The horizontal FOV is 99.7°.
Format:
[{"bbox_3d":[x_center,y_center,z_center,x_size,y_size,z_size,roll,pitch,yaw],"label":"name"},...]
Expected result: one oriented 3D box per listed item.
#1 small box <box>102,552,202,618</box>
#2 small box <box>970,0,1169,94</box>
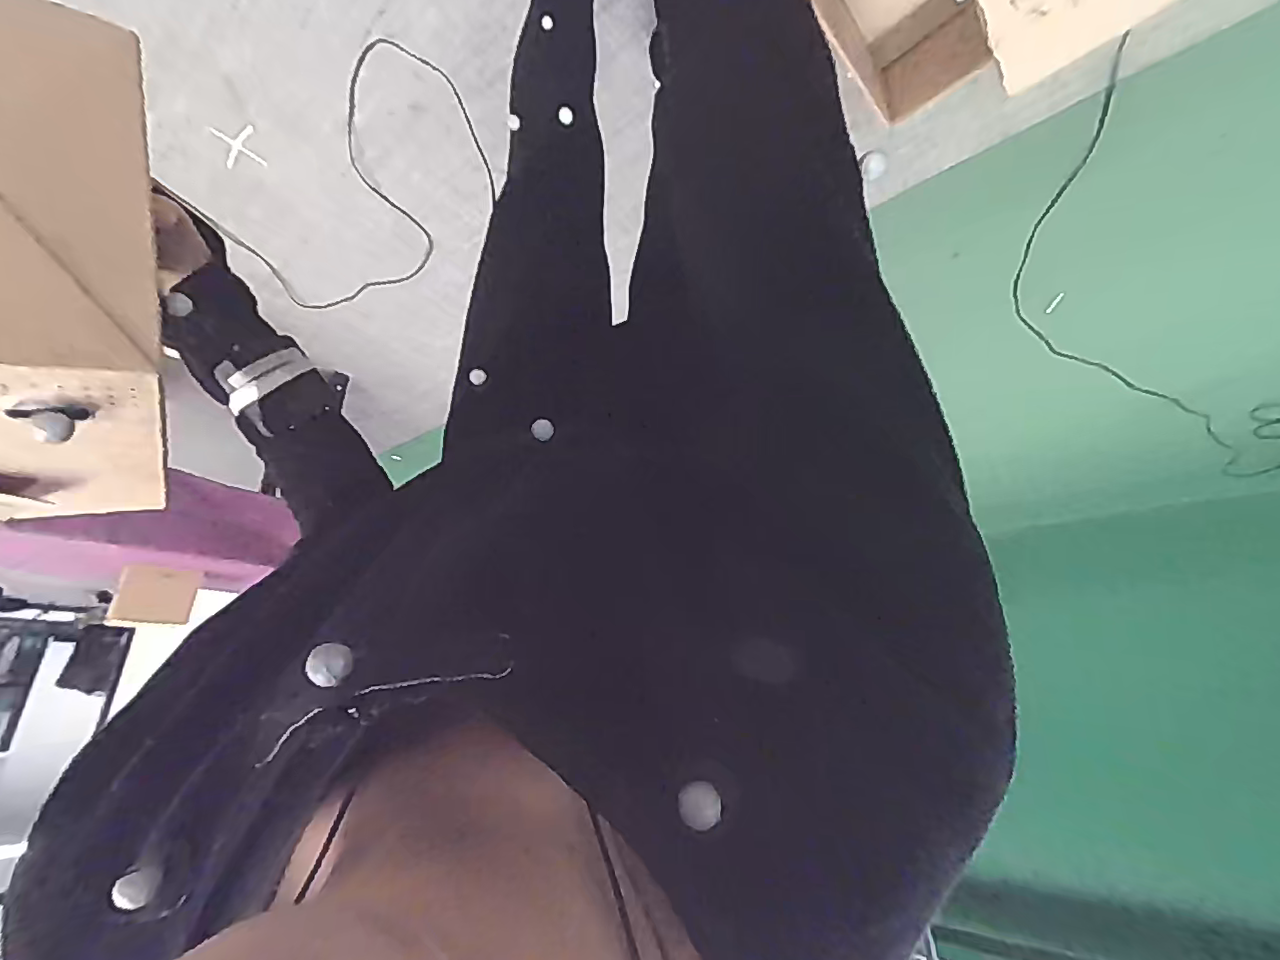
[{"bbox_3d":[-1.478,0.318,1.641,0.168,0.176,0.179,-17,153,39],"label":"small box"},{"bbox_3d":[0.462,-0.596,0.591,0.179,0.176,0.168,-16,154,40],"label":"small box"}]
